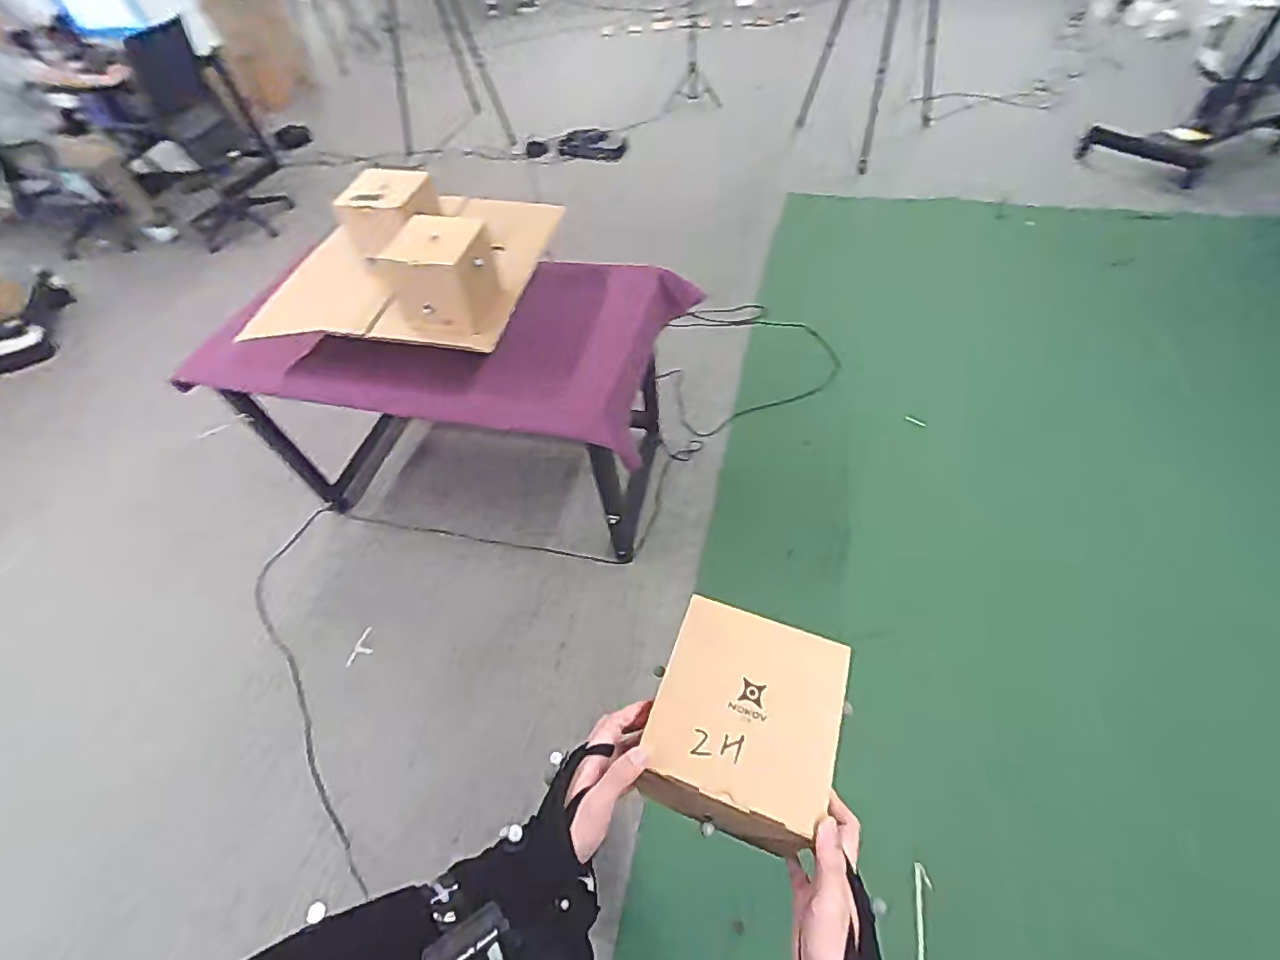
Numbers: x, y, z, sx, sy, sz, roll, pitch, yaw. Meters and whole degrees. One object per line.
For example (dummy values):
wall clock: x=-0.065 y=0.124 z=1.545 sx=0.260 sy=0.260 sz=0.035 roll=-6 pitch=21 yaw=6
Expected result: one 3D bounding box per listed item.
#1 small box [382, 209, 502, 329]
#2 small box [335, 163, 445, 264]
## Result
small box: x=-0.414 y=-0.457 z=1.172 sx=0.168 sy=0.176 sz=0.179 roll=9 pitch=56 yaw=9
small box: x=-0.582 y=-0.636 z=1.306 sx=0.168 sy=0.176 sz=0.179 roll=9 pitch=54 yaw=8
